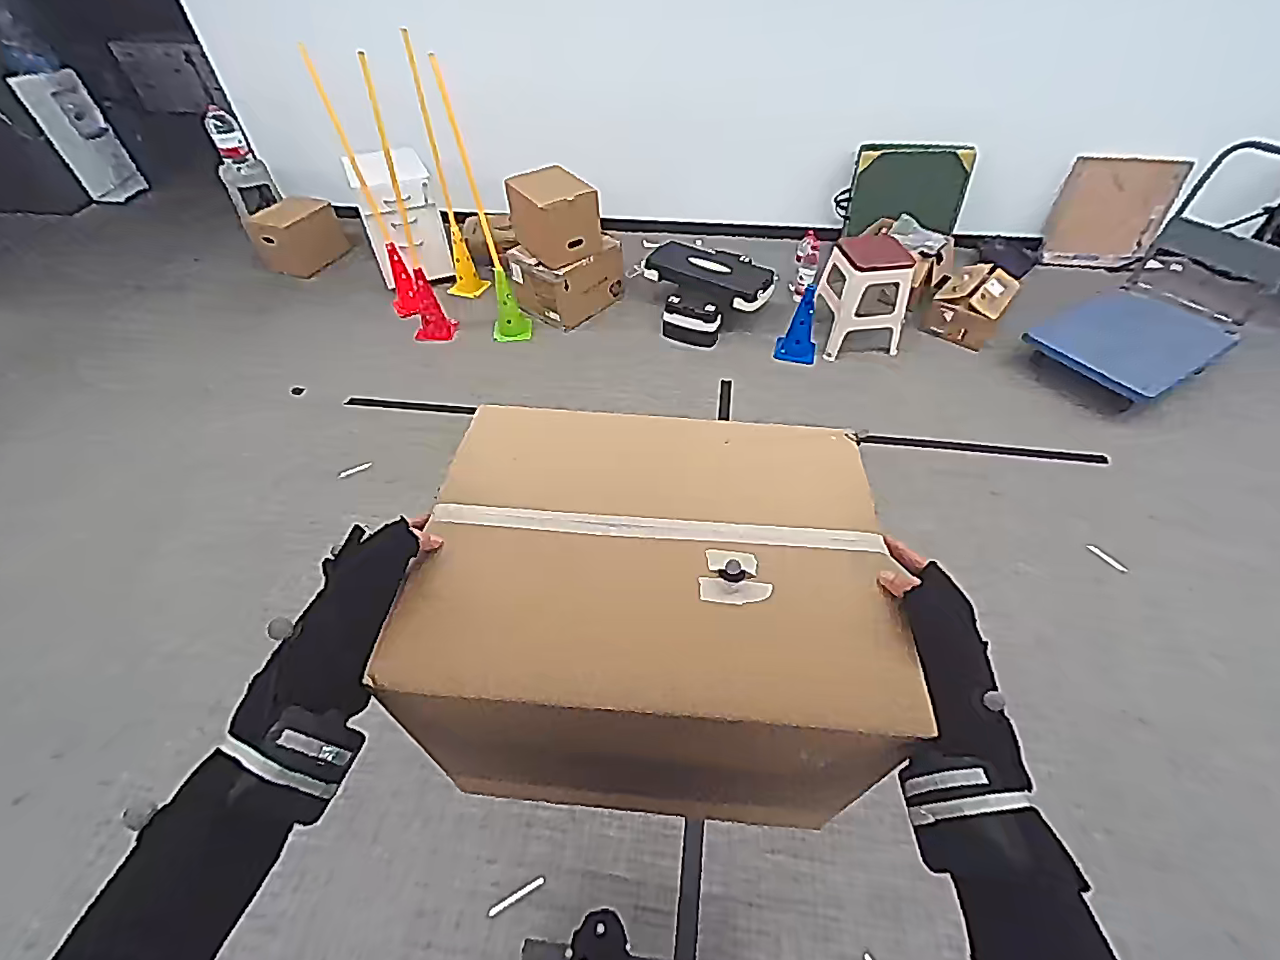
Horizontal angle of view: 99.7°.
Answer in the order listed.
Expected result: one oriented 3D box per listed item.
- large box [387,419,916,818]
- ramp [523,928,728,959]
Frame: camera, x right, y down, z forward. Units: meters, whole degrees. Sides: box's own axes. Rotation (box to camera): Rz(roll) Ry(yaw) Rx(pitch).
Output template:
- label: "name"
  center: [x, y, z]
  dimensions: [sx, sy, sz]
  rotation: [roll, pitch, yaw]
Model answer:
- label: "large box"
  center: [0.011, 0.156, 0.606]
  dimensions: [0.408, 0.320, 0.320]
  rotation: [5, 48, 2]
- label: "ramp"
  center: [-0.054, 1.387, 0.865]
  dimensions: [0.509, 0.206, 0.991]
  rotation: [5, 49, 4]
